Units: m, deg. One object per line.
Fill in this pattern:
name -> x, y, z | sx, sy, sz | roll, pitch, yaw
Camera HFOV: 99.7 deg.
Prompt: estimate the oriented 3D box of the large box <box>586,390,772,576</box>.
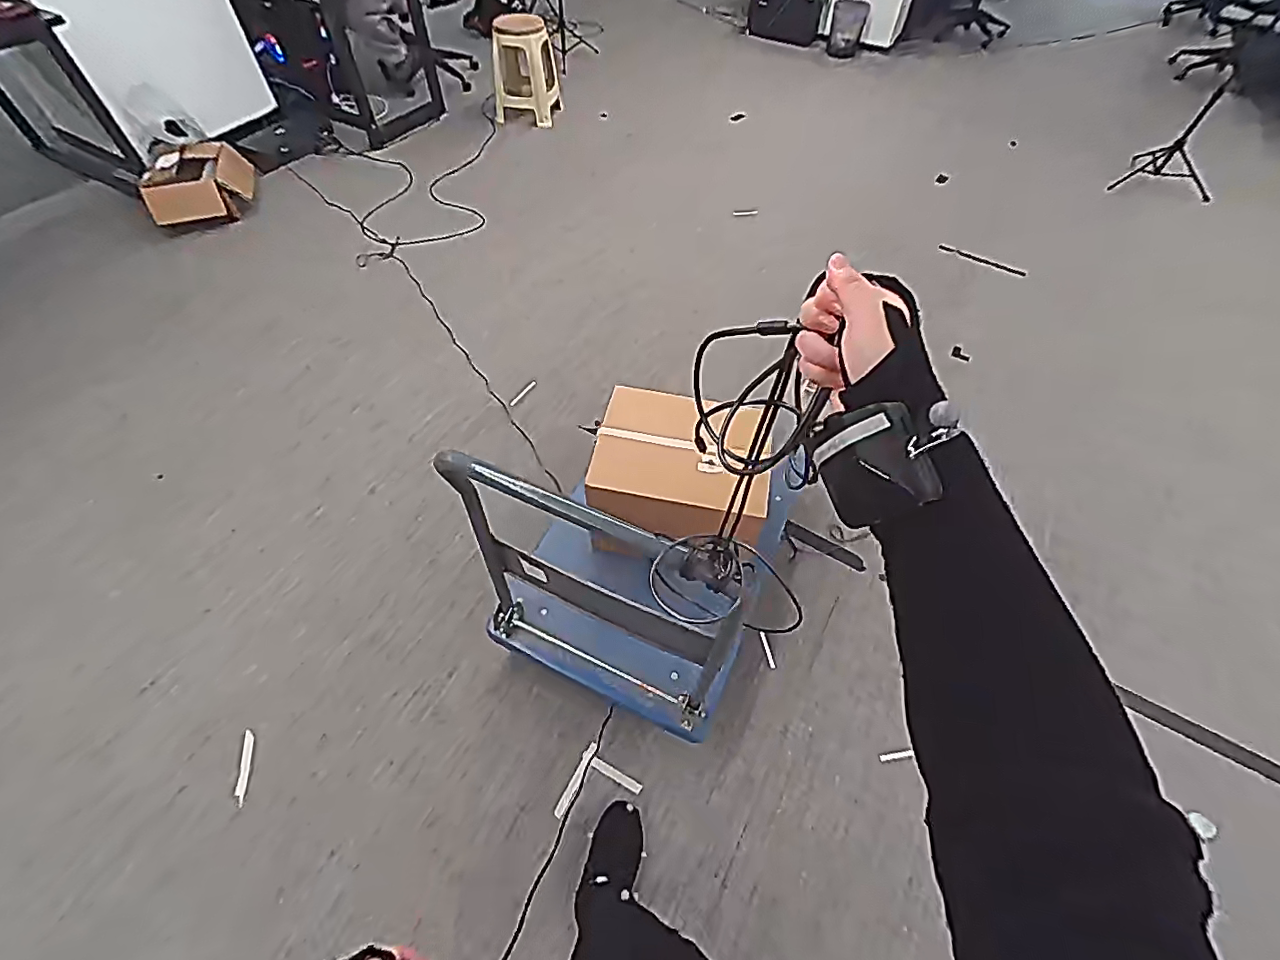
large box -> 0.095, 0.013, 1.378 | 0.408, 0.320, 0.320 | 11, 56, 5
